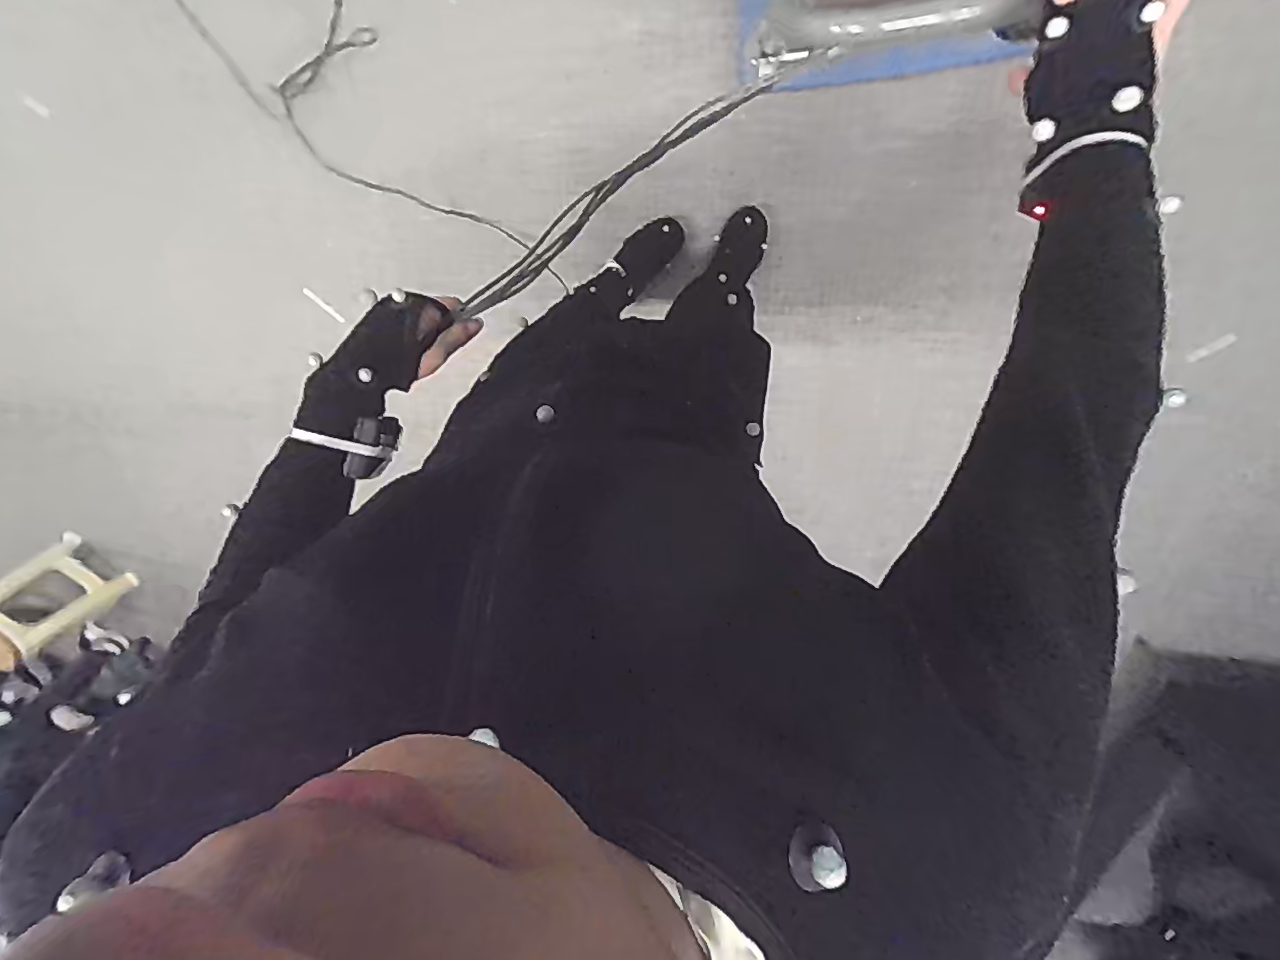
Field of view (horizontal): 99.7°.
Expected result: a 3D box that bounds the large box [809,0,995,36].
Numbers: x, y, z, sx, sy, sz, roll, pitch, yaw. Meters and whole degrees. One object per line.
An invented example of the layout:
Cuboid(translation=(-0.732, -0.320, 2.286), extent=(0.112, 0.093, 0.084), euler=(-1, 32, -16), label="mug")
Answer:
Cuboid(translation=(0.426, -0.947, 0.785), extent=(0.320, 0.320, 0.408), euler=(1, 119, 10), label="large box")
